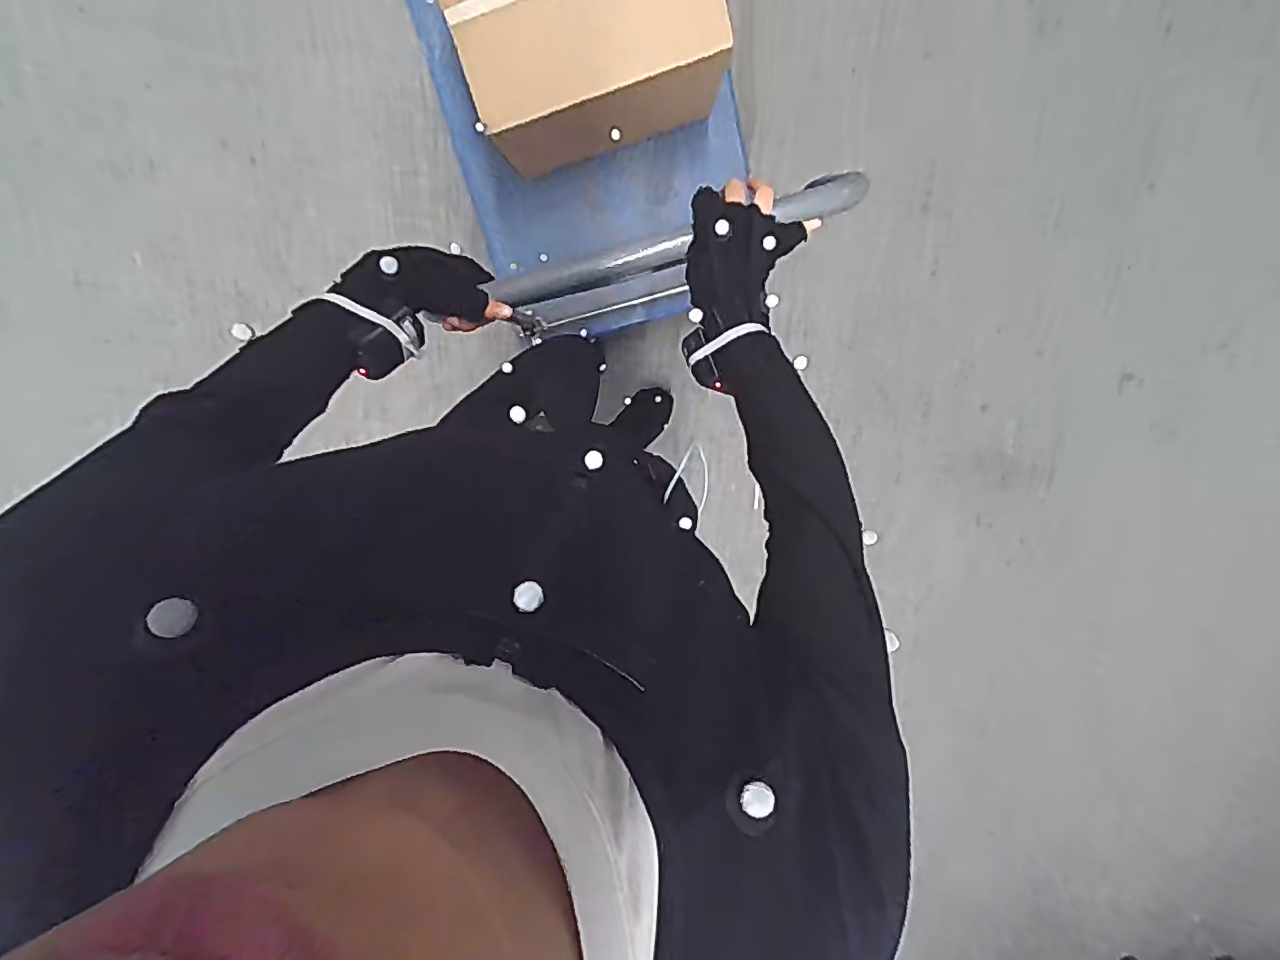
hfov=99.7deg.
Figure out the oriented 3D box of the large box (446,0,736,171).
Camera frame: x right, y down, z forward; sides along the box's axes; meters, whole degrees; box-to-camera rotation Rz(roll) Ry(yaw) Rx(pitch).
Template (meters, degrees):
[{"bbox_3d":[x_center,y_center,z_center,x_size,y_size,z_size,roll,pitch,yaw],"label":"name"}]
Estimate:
[{"bbox_3d":[-0.089,-0.789,0.925,0.408,0.320,0.320,-17,106,5],"label":"large box"}]
